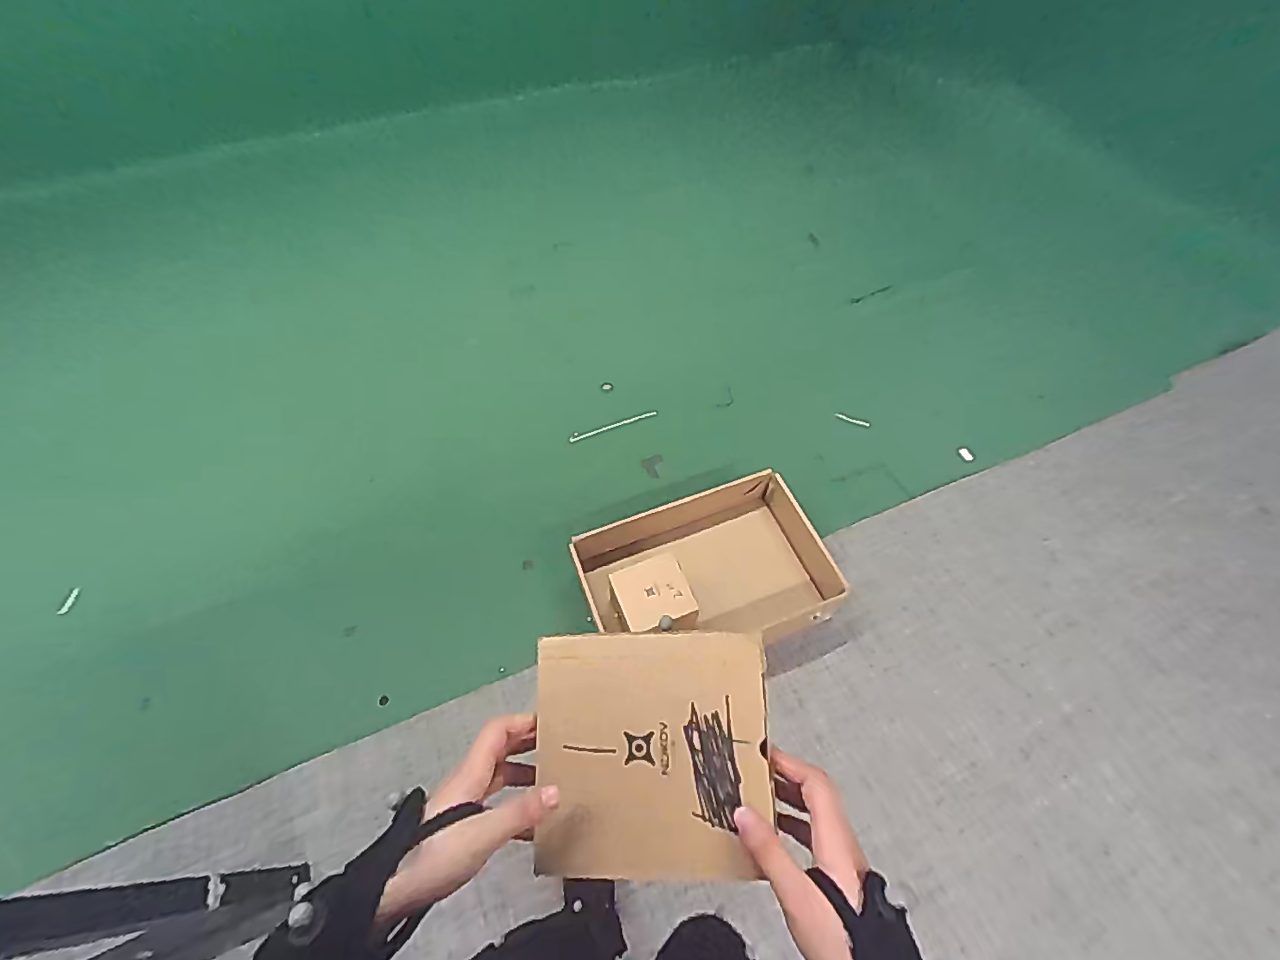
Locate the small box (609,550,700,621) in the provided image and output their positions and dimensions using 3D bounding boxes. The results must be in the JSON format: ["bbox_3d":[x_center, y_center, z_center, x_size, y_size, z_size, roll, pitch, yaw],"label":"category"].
[{"bbox_3d":[0.032,0.305,1.355,0.179,0.176,0.168,-18,60,-13],"label":"small box"}]

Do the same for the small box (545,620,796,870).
[{"bbox_3d":[0.027,0.207,0.469,0.179,0.176,0.168,-3,74,6],"label":"small box"}]
